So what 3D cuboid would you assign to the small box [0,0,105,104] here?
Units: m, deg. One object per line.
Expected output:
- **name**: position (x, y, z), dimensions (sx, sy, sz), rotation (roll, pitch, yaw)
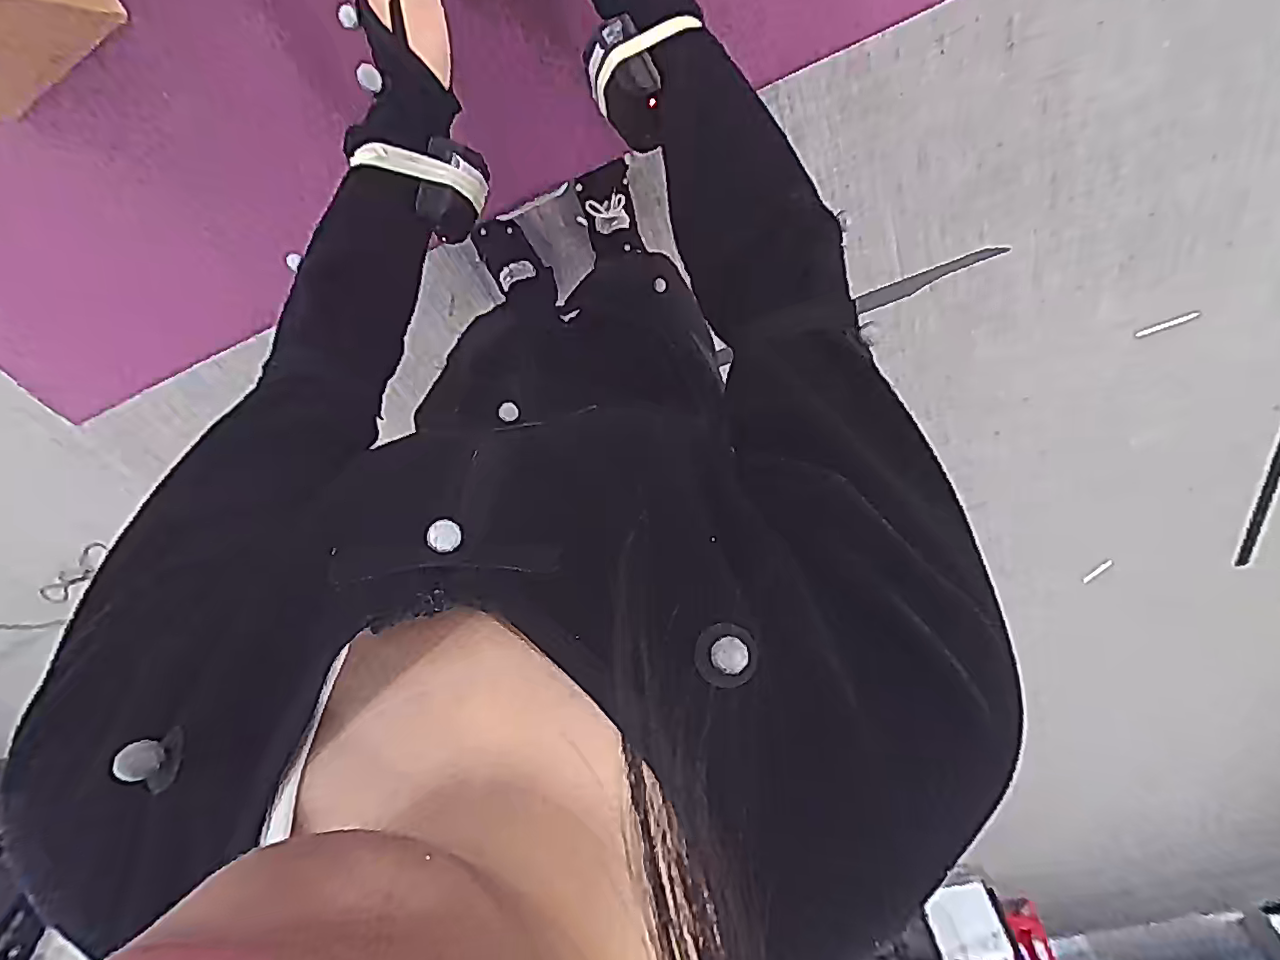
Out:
- **small box**: position (-0.567, -0.402, 0.396), dimensions (0.179, 0.176, 0.168), rotation (-23, 125, 14)
